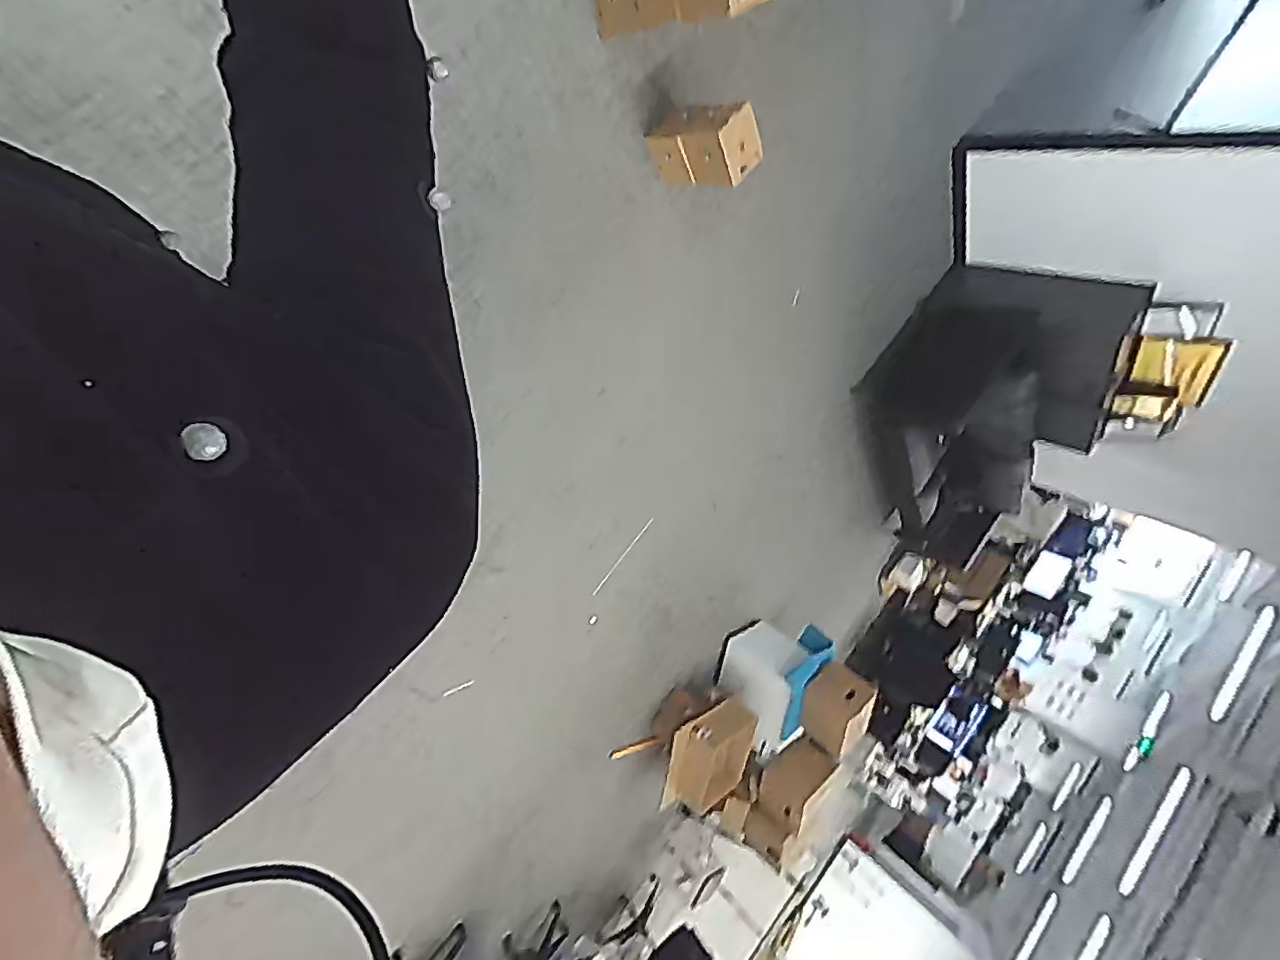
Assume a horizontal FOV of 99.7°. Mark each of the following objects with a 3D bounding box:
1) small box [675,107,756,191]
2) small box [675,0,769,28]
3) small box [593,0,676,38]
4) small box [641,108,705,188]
[{"bbox_3d":[0.239,-1.053,1.727,0.168,0.176,0.179,-48,139,-12],"label":"small box"},{"bbox_3d":[0.190,-1.224,1.305,0.168,0.176,0.179,-40,136,-22],"label":"small box"},{"bbox_3d":[-0.025,-1.359,1.512,0.179,0.176,0.168,-35,136,-26],"label":"small box"},{"bbox_3d":[0.126,-1.119,1.827,0.179,0.176,0.168,-50,140,-11],"label":"small box"}]
